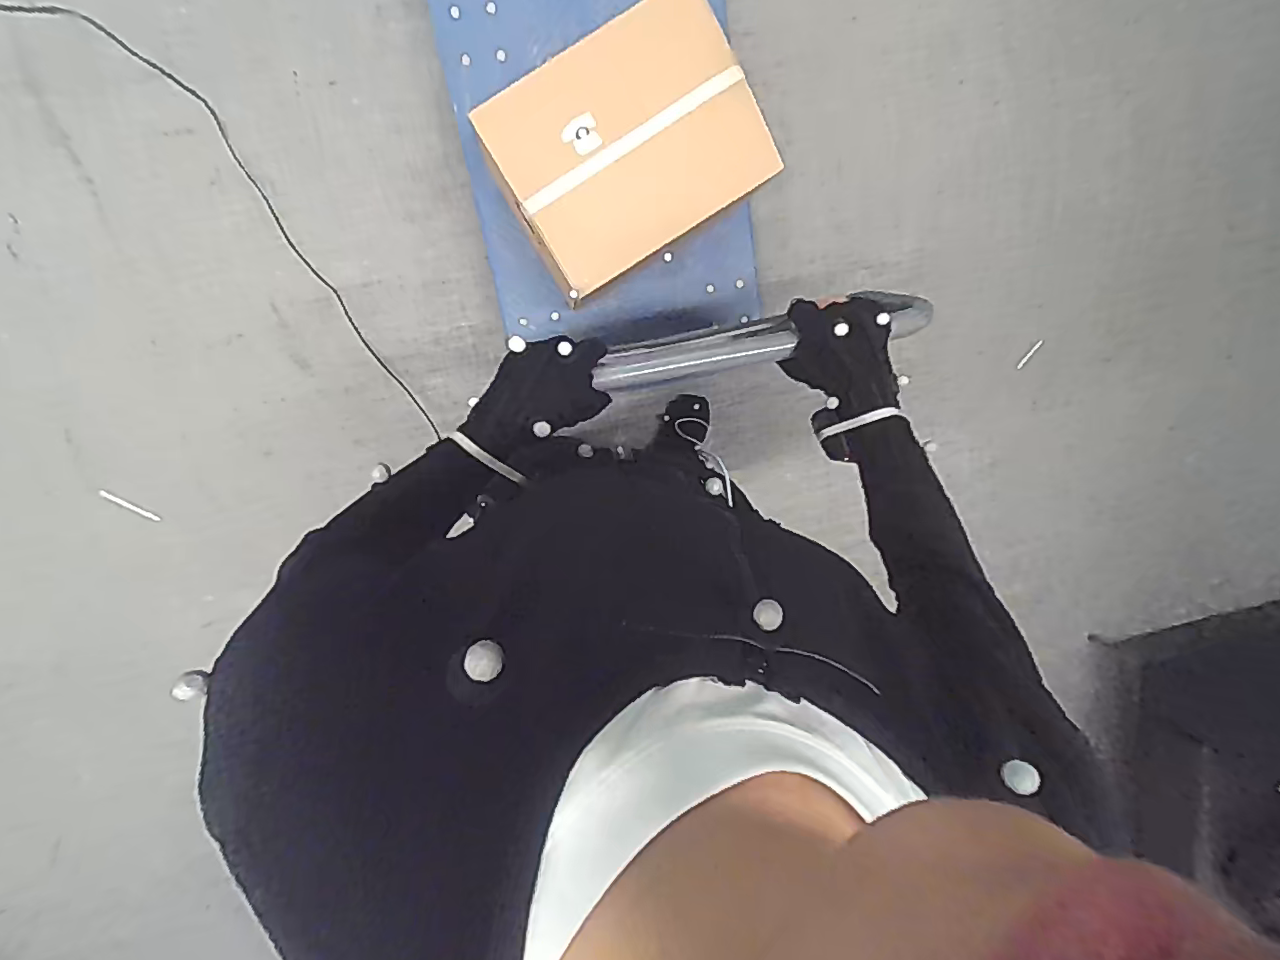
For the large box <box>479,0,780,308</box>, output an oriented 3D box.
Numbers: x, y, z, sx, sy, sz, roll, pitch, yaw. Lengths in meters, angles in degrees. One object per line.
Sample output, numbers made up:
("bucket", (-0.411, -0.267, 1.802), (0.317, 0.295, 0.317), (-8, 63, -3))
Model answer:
("large box", (-0.025, -0.570, 1.009), (0.408, 0.320, 0.320), (-33, 105, 2))
